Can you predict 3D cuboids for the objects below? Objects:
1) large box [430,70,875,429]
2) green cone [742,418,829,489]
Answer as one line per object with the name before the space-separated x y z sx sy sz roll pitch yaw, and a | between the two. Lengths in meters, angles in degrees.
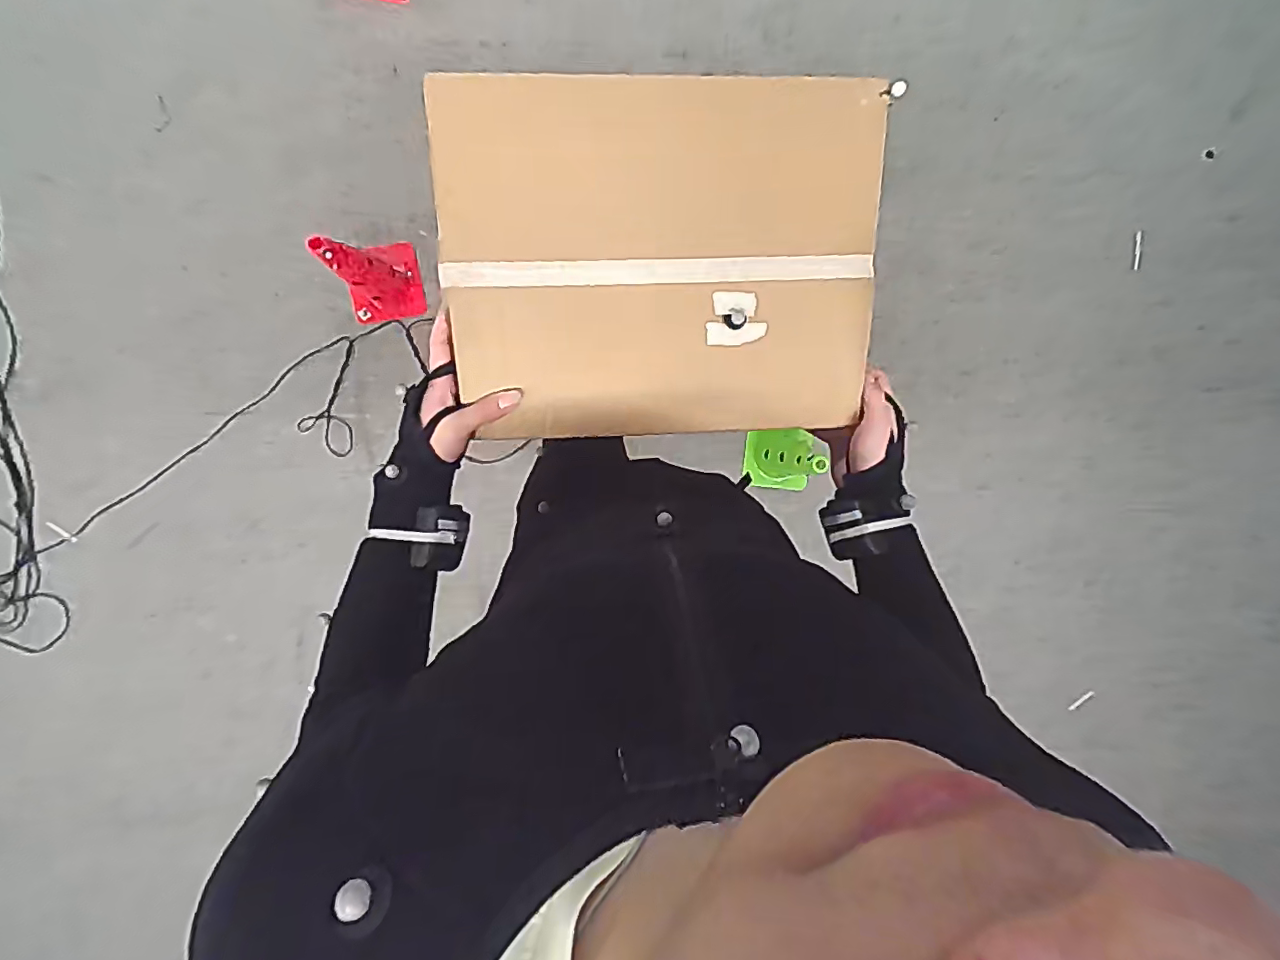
large box | 0.007 -0.250 0.657 0.408 0.320 0.320 -3 107 -5
green cone | 0.419 -0.063 1.444 0.200 0.368 0.202 5 95 -4
